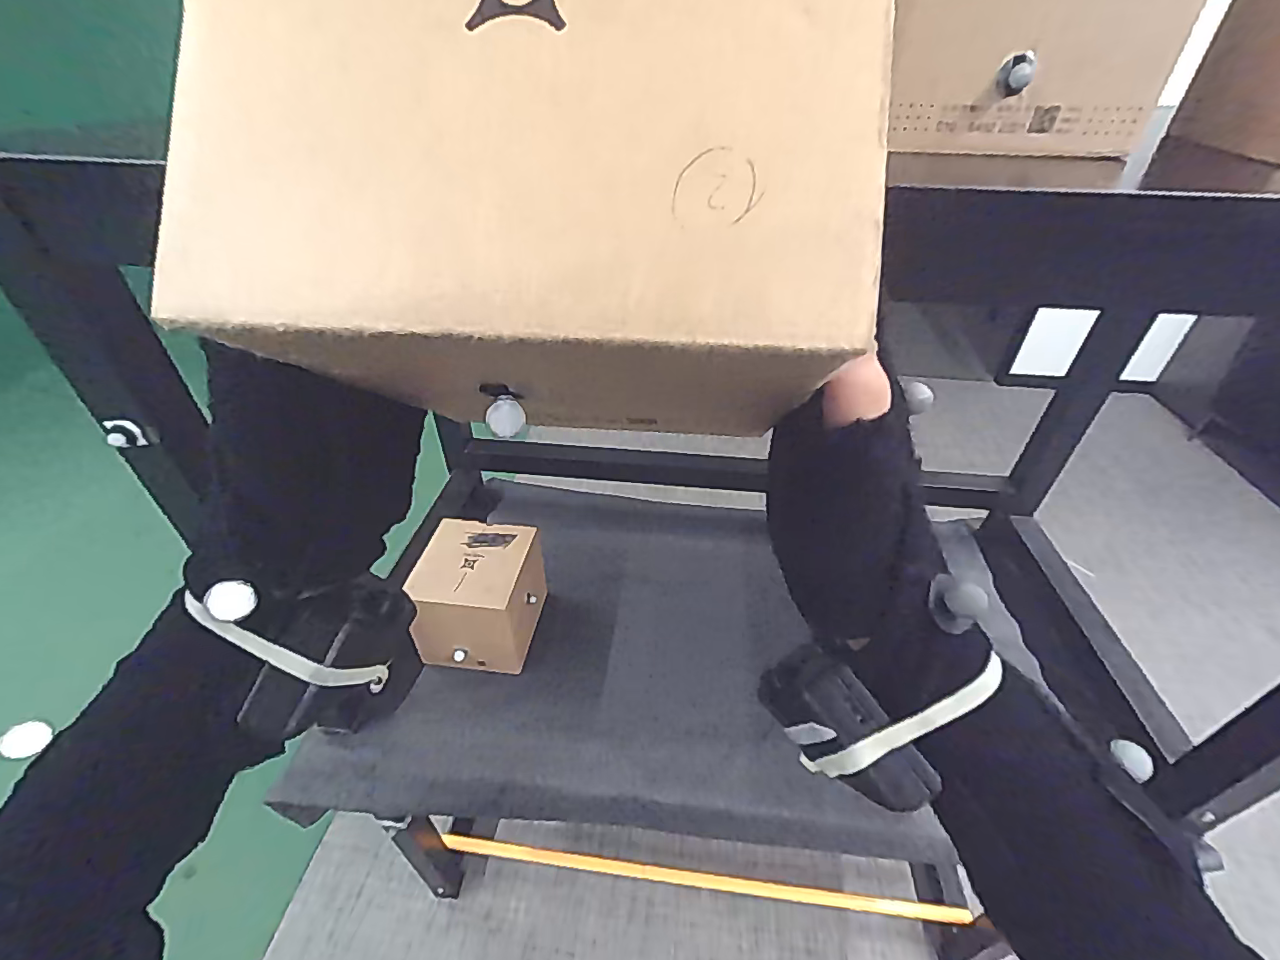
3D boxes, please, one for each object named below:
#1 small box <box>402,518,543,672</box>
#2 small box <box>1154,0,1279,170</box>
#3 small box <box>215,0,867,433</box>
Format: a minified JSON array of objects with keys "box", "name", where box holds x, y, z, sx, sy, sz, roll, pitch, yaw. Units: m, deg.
[{"box":[-0.263,0.189,0.900,0.168,0.176,0.179,5,39,5],"name":"small box"},{"box":[0.487,-0.288,0.333,0.168,0.176,0.179,12,39,14],"name":"small box"},{"box":[-0.019,-0.116,0.217,0.168,0.179,0.176,4,-2,5],"name":"small box"}]
